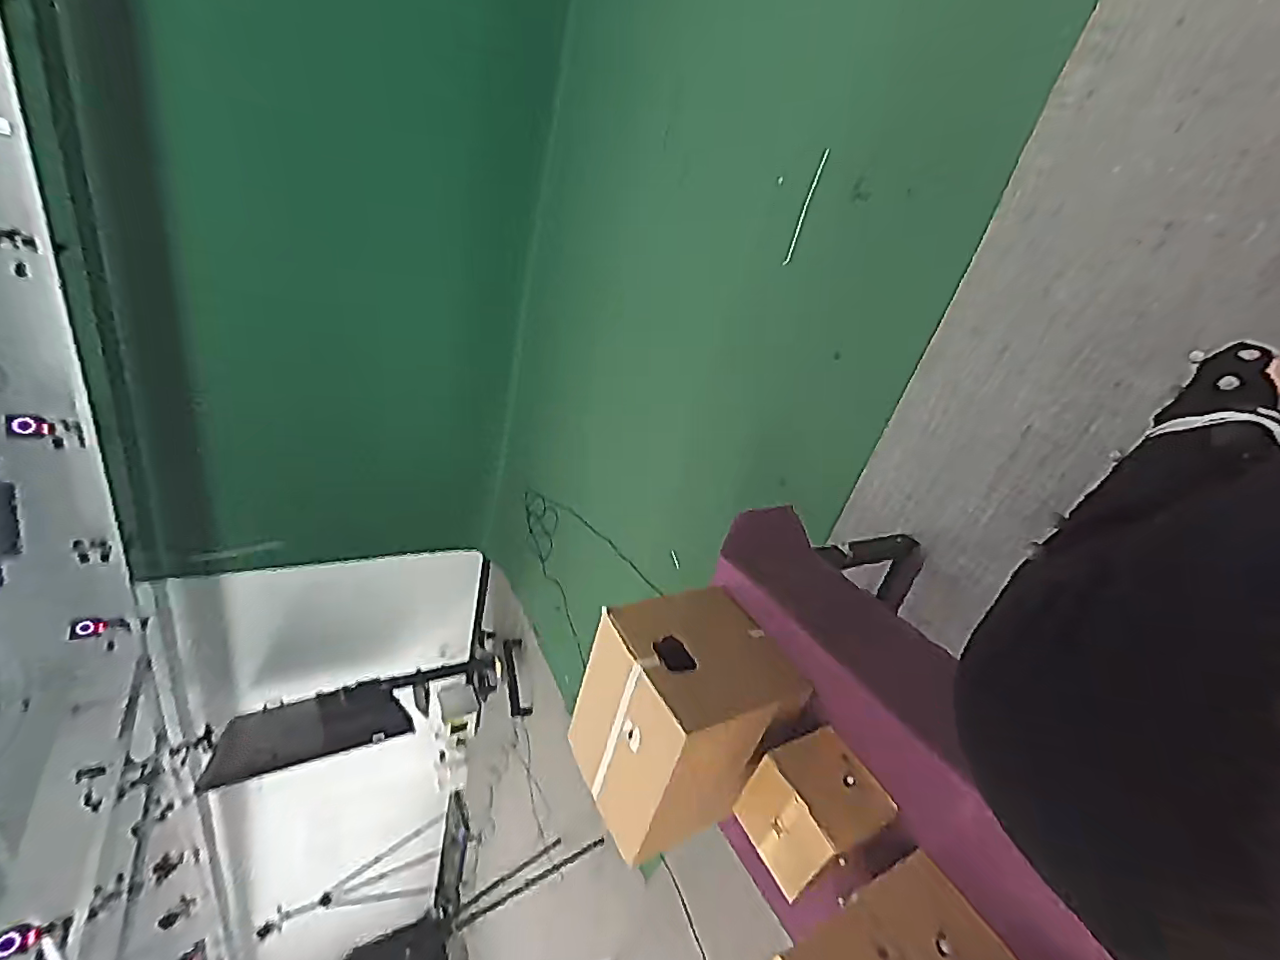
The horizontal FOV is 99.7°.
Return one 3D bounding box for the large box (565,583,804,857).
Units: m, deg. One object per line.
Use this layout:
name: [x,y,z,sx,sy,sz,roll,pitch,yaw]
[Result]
large box: [0.074,0.482,1.146,0.320,0.320,0.408,46,128,45]
